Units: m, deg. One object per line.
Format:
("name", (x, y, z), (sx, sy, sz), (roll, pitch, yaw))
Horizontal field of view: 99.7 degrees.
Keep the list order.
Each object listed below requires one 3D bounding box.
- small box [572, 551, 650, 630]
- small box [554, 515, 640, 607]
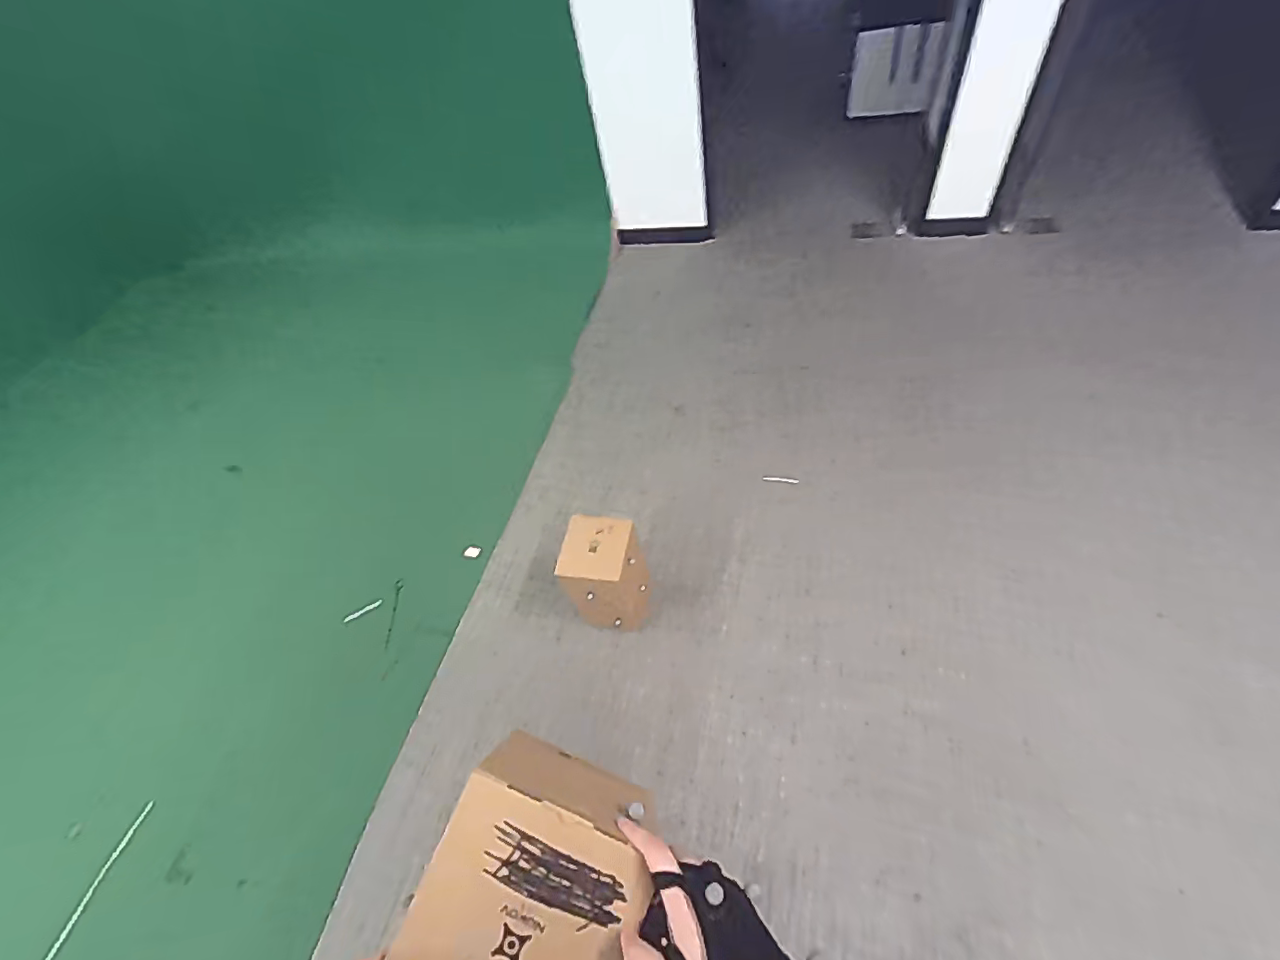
("small box", (-0.073, 0.309, 1.537), (0.168, 0.176, 0.179), (5, 54, 15))
("small box", (-0.103, 0.214, 1.406), (0.168, 0.176, 0.179), (4, 55, 13))
